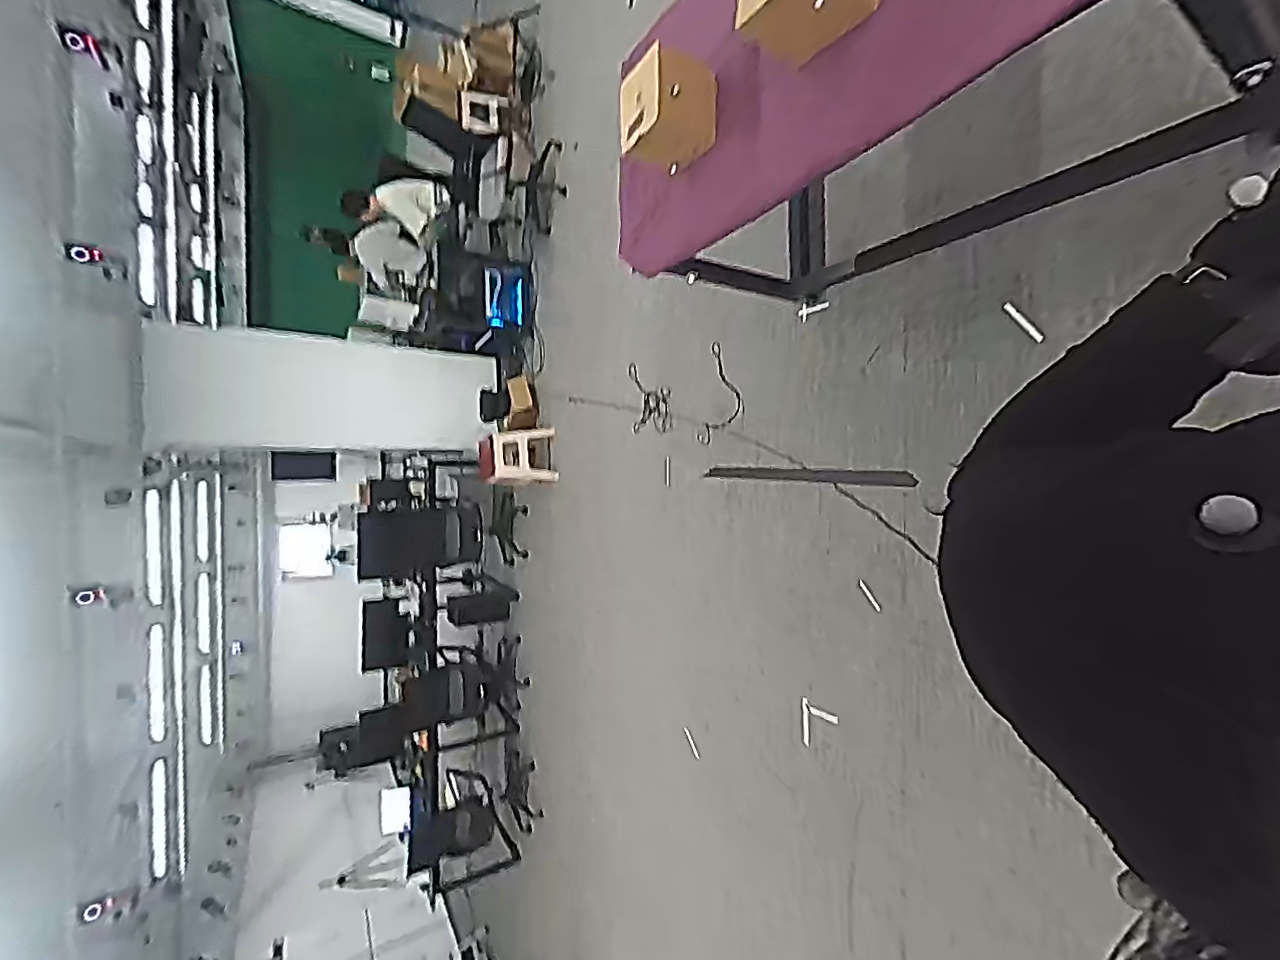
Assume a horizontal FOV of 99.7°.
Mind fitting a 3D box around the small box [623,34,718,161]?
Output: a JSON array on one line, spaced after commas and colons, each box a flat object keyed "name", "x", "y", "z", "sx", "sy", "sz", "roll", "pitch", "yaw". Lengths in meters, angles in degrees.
[{"name": "small box", "x": 0.072, "y": -0.891, "z": 1.286, "sx": 0.168, "sy": 0.176, "sz": 0.179, "roll": 2, "pitch": 93, "yaw": 58}]
